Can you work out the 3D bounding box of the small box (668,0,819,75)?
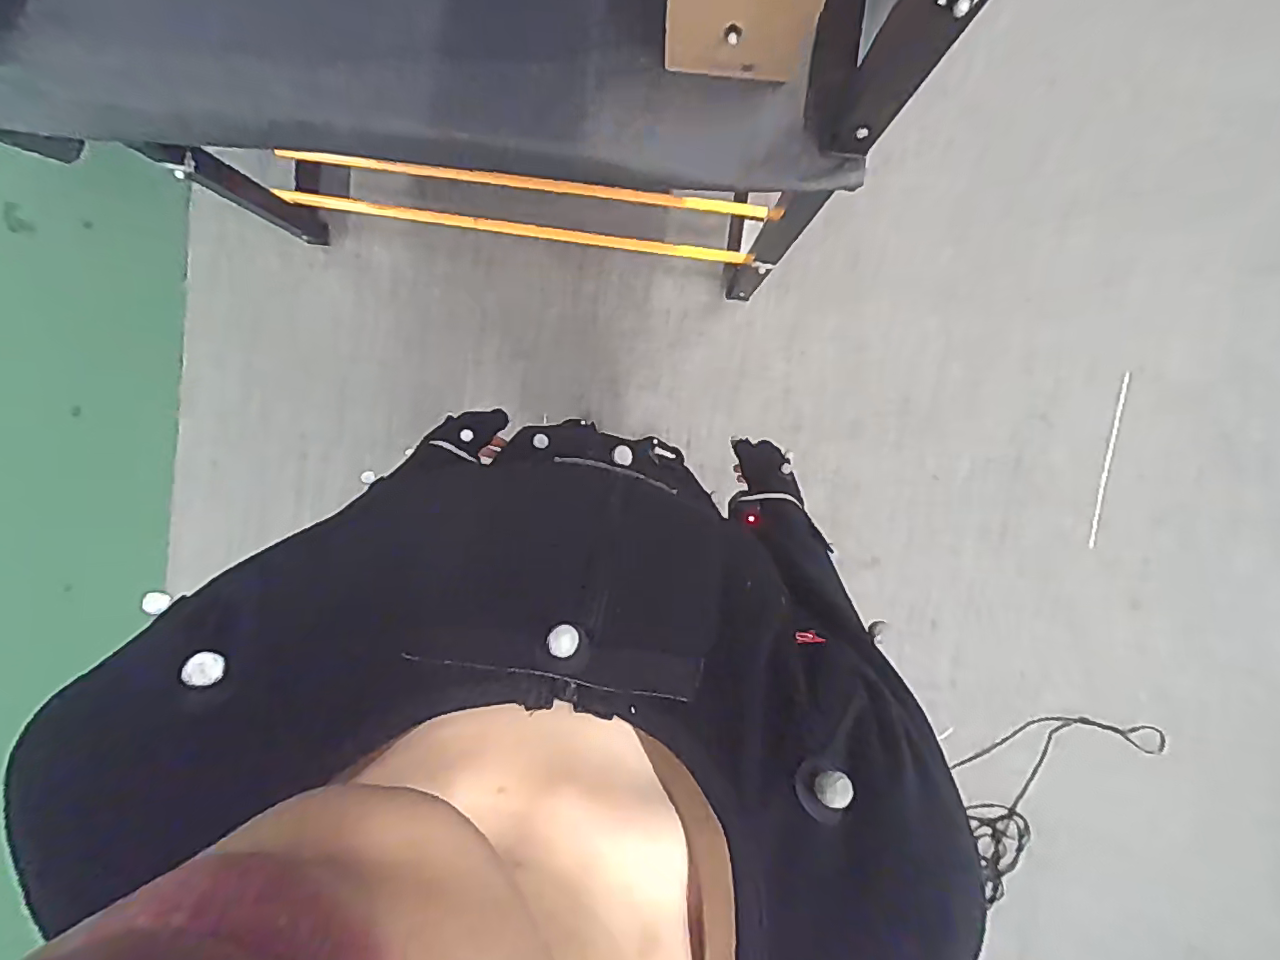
[{"bbox_3d":[0.122,-0.599,0.605,0.168,0.176,0.179,6,95,0],"label":"small box"}]
